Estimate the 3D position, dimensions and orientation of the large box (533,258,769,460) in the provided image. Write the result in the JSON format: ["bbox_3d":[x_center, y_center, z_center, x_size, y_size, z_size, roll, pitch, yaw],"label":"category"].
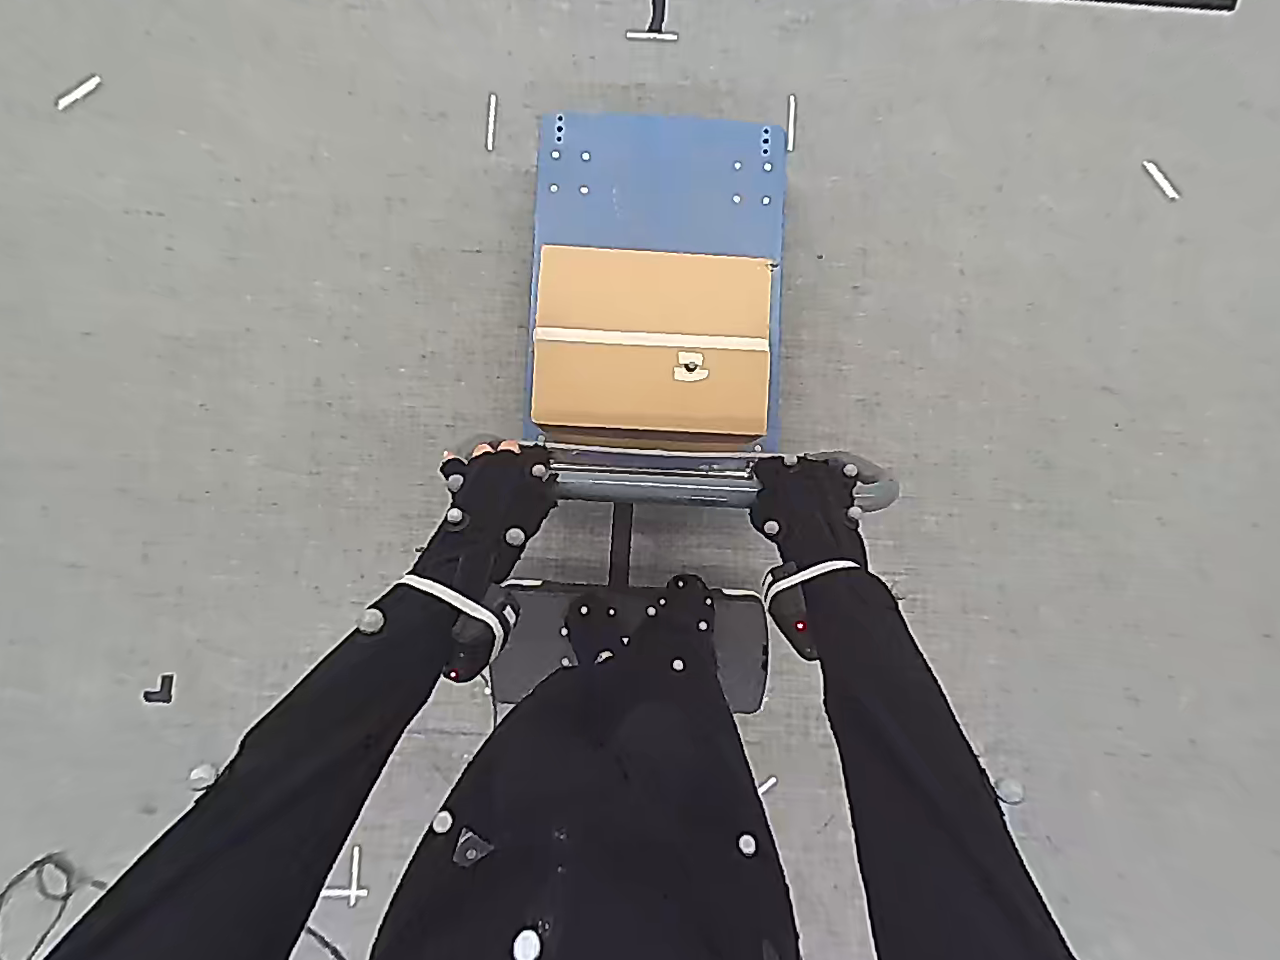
[{"bbox_3d":[0.014,-0.213,1.073,0.408,0.320,0.320,3,87,-2],"label":"large box"}]
